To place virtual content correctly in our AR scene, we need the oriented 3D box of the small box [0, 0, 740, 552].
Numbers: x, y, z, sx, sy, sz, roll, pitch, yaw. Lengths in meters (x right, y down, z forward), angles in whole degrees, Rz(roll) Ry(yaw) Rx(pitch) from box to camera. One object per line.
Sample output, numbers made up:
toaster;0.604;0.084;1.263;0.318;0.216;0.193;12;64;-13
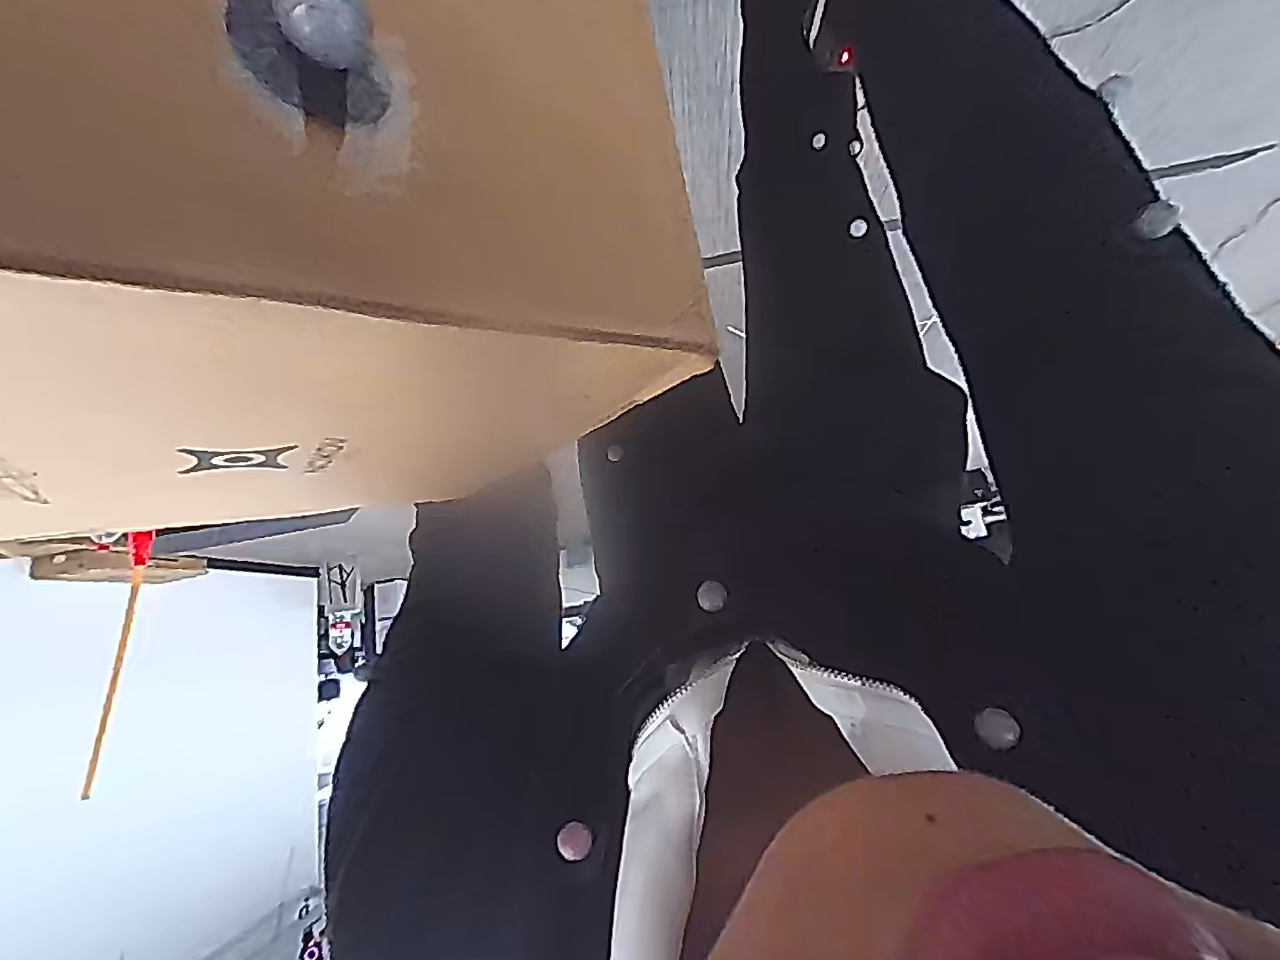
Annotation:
small box;-0.105;-0.083;0.139;0.179;0.176;0.168;-4;169;-40
